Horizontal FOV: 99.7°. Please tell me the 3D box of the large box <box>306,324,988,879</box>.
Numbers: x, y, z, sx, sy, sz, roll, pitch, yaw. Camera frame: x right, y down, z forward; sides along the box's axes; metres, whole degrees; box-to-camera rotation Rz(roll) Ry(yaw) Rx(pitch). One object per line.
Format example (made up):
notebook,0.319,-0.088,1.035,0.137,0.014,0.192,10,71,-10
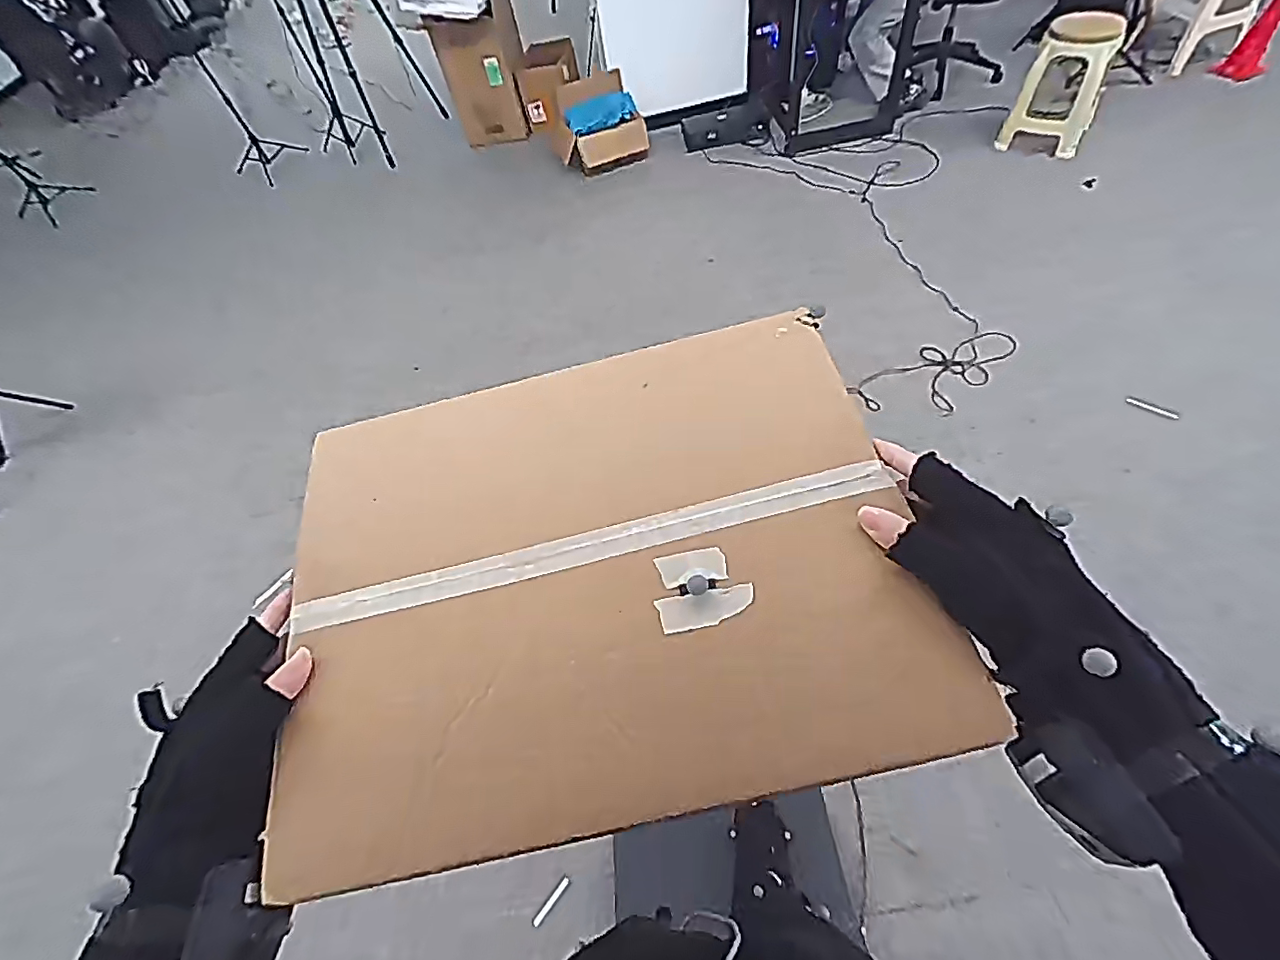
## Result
large box,-0.008,0.119,0.502,0.408,0.320,0.320,-14,61,1
